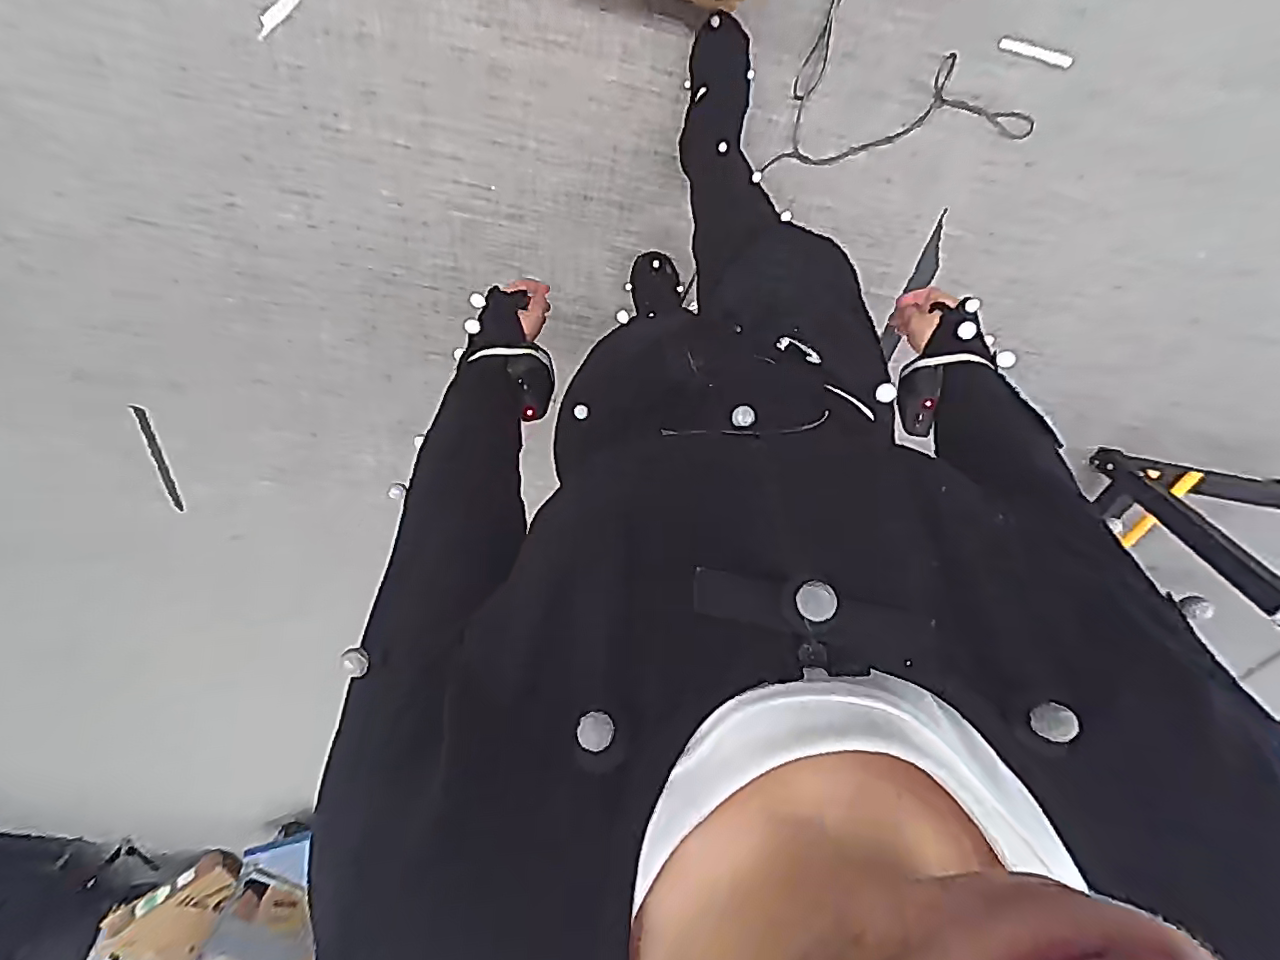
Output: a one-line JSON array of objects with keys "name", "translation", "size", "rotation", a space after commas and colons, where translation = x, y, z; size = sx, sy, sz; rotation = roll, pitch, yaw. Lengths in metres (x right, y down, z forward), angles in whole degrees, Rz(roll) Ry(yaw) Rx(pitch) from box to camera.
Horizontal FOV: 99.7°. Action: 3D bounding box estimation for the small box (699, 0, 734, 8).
[{"name": "small box", "translation": [0.092, -0.845, 0.811], "size": [0.179, 0.176, 0.168], "rotation": [15, 126, -9]}]
